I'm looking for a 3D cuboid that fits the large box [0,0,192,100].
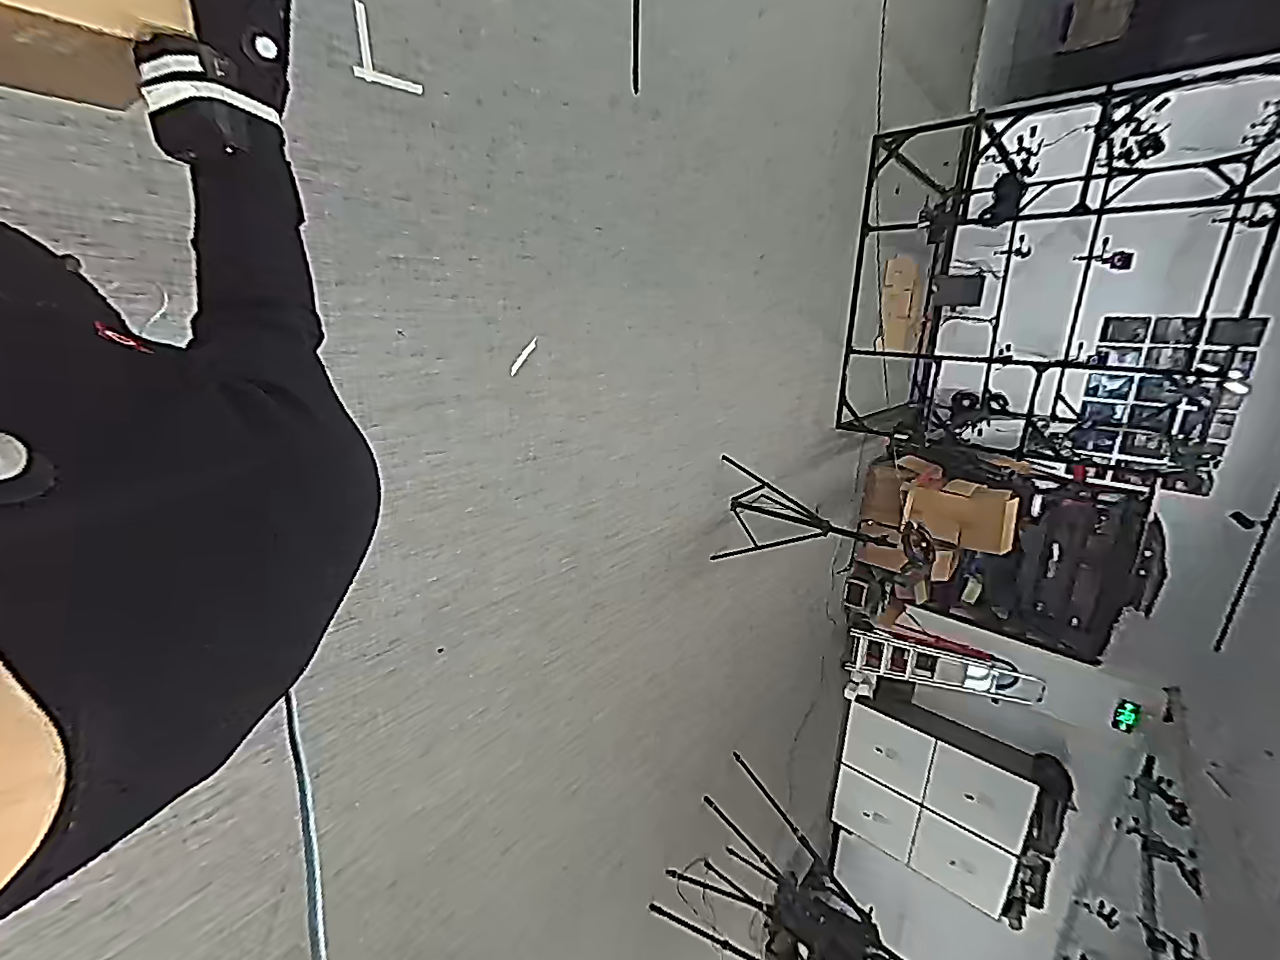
[{"bbox_3d":[-0.552,-0.448,0.281,0.408,0.320,0.320,-18,121,-47],"label":"large box"}]
